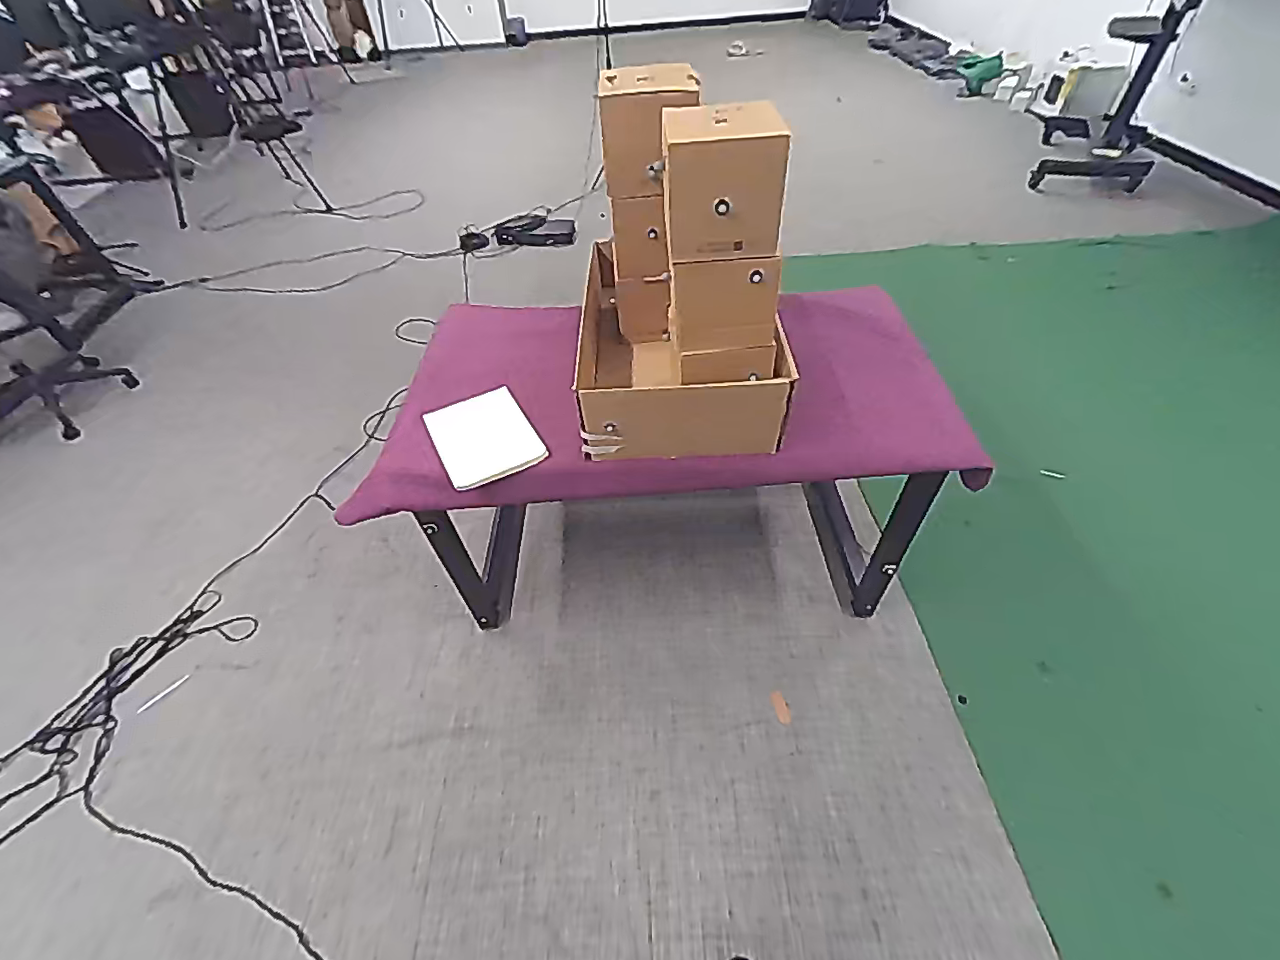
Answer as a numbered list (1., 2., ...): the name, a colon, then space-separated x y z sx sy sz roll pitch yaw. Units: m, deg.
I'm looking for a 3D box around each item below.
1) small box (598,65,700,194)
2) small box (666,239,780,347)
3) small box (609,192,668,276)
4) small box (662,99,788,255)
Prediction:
1. small box: 0.016 -0.663 1.027 0.179 0.176 0.168 -2 49 0
2. small box: 0.138 -0.348 0.952 0.179 0.176 0.168 -2 47 2
3. small box: 0.025 -0.553 1.148 0.179 0.176 0.168 -5 49 0
4. small box: 0.121 -0.460 0.831 0.168 0.176 0.179 -3 46 2
